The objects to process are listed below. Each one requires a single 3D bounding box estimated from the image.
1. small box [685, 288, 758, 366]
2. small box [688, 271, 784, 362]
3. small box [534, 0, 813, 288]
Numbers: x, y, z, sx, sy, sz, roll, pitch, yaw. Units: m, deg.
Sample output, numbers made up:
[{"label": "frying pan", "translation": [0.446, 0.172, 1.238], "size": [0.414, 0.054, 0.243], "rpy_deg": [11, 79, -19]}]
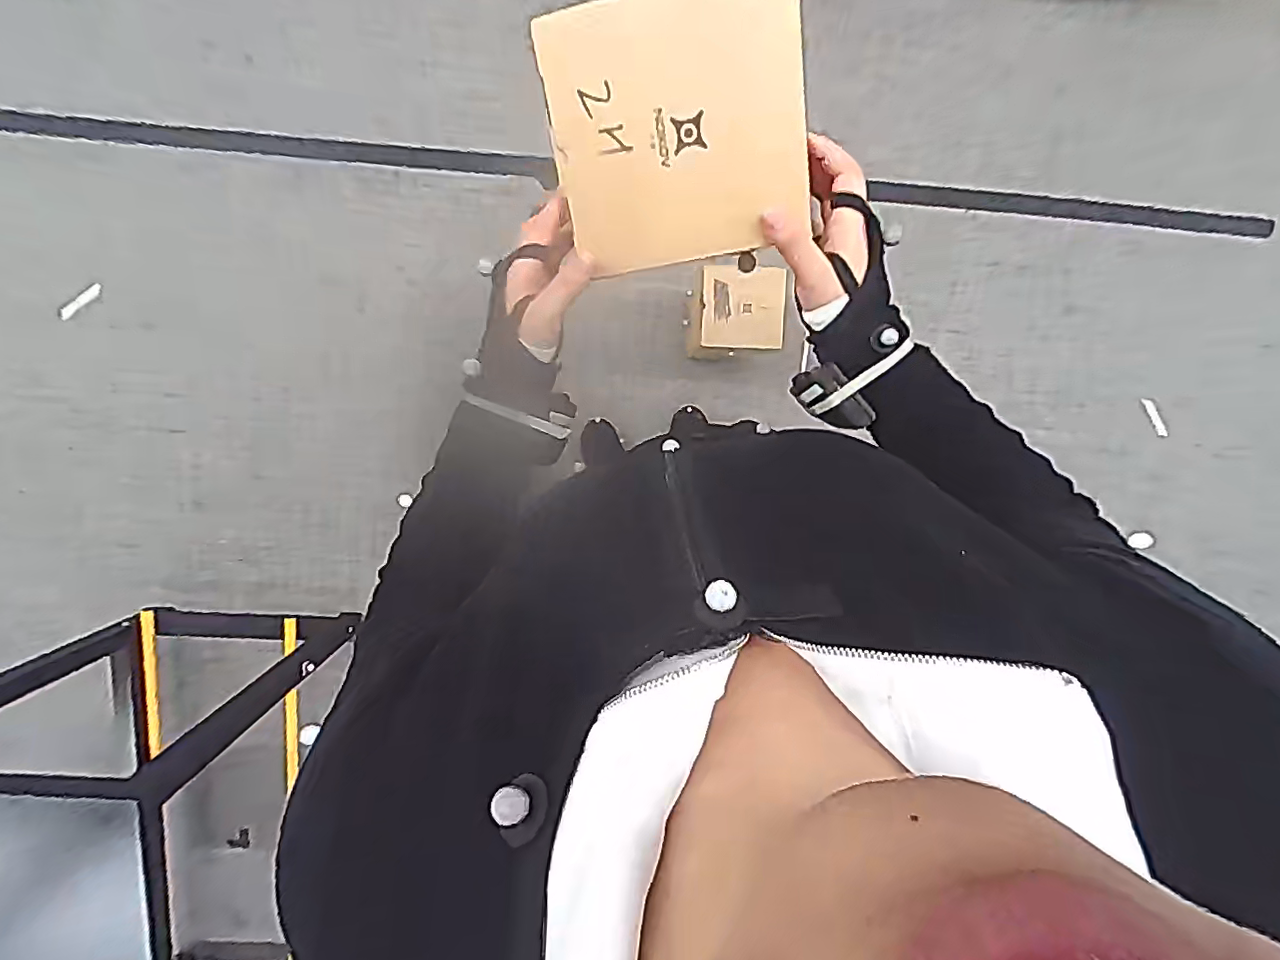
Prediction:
[{"label": "small box", "translation": [0.205, -0.381, 1.362], "size": [0.168, 0.176, 0.179], "rpy_deg": [2, 99, -2]}, {"label": "small box", "translation": [0.204, -0.354, 1.198], "size": [0.179, 0.176, 0.168], "rpy_deg": [2, 98, -3]}, {"label": "small box", "translation": [0.034, -0.260, 0.442], "size": [0.179, 0.176, 0.168], "rpy_deg": [-6, 112, 9]}]
